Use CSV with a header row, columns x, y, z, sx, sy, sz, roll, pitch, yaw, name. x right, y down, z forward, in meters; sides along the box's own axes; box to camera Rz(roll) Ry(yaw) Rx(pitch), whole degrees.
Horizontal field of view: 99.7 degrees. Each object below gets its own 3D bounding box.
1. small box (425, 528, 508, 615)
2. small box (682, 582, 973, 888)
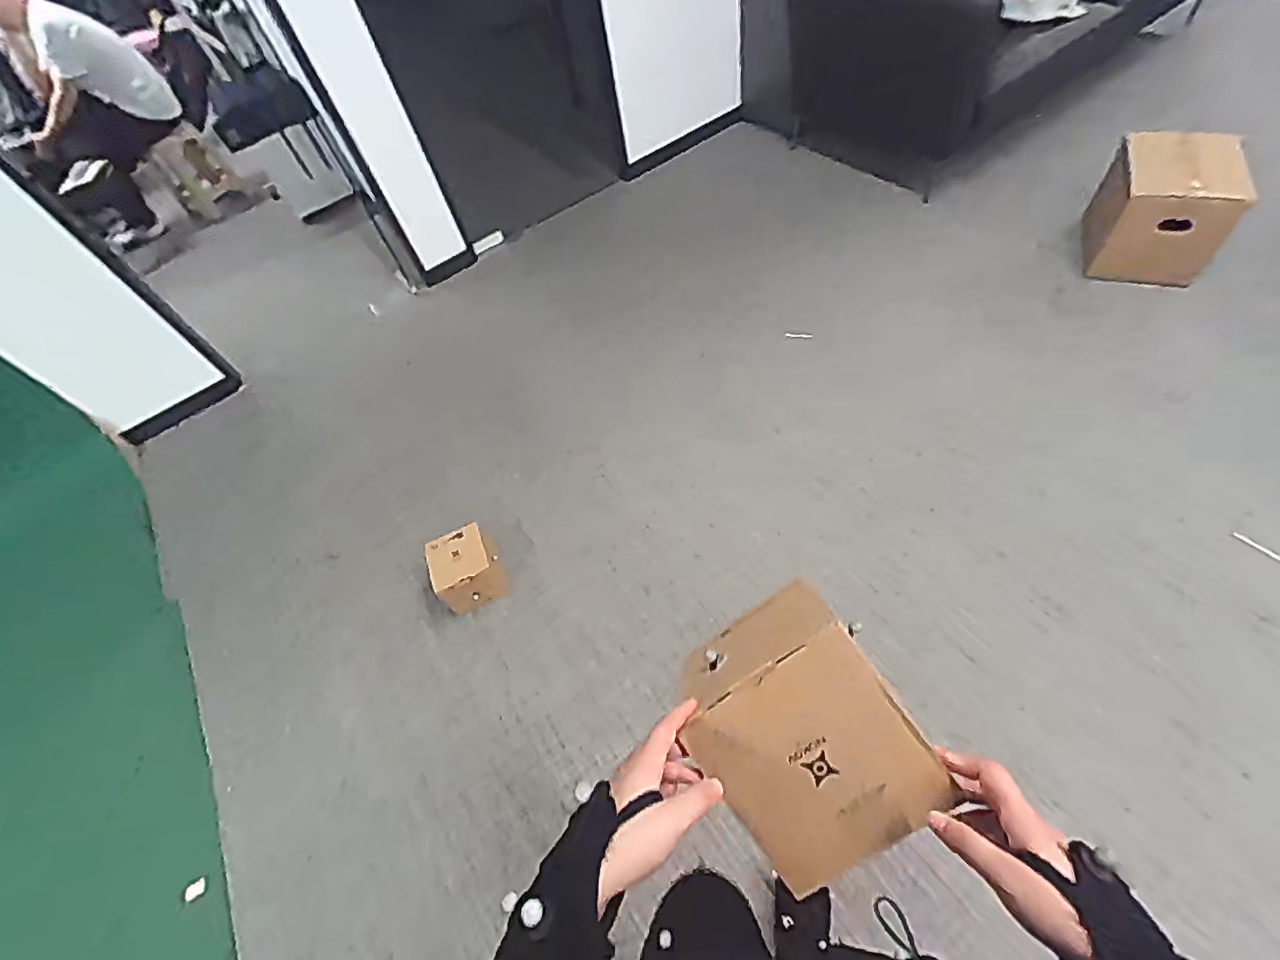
x,y,z,sx,sy,sz,roll,pitch,yaw,name
-0.506,0.277,1.593,0.168,0.176,0.179,-24,55,-7,small box
0.157,0.216,0.516,0.168,0.176,0.179,-38,89,9,small box
